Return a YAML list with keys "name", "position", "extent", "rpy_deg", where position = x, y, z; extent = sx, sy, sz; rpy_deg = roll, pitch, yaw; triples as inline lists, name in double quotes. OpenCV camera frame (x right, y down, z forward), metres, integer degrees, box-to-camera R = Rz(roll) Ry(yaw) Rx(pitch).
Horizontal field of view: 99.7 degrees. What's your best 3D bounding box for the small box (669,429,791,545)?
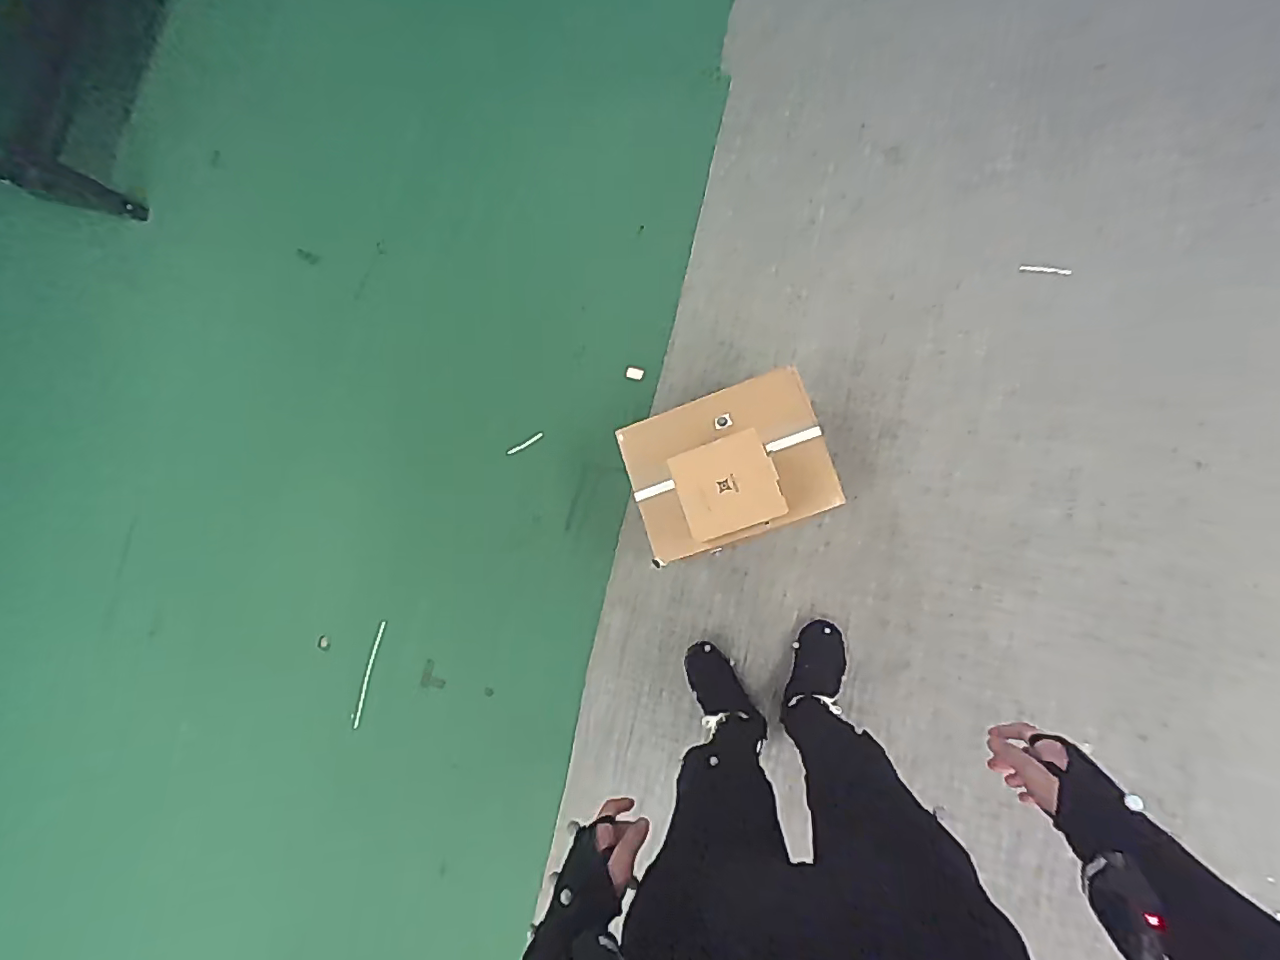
- name: "small box"
  position: [0.171, 0.018, 1.023]
  extent: [0.179, 0.176, 0.168]
  rpy_deg: [-20, 80, 11]
